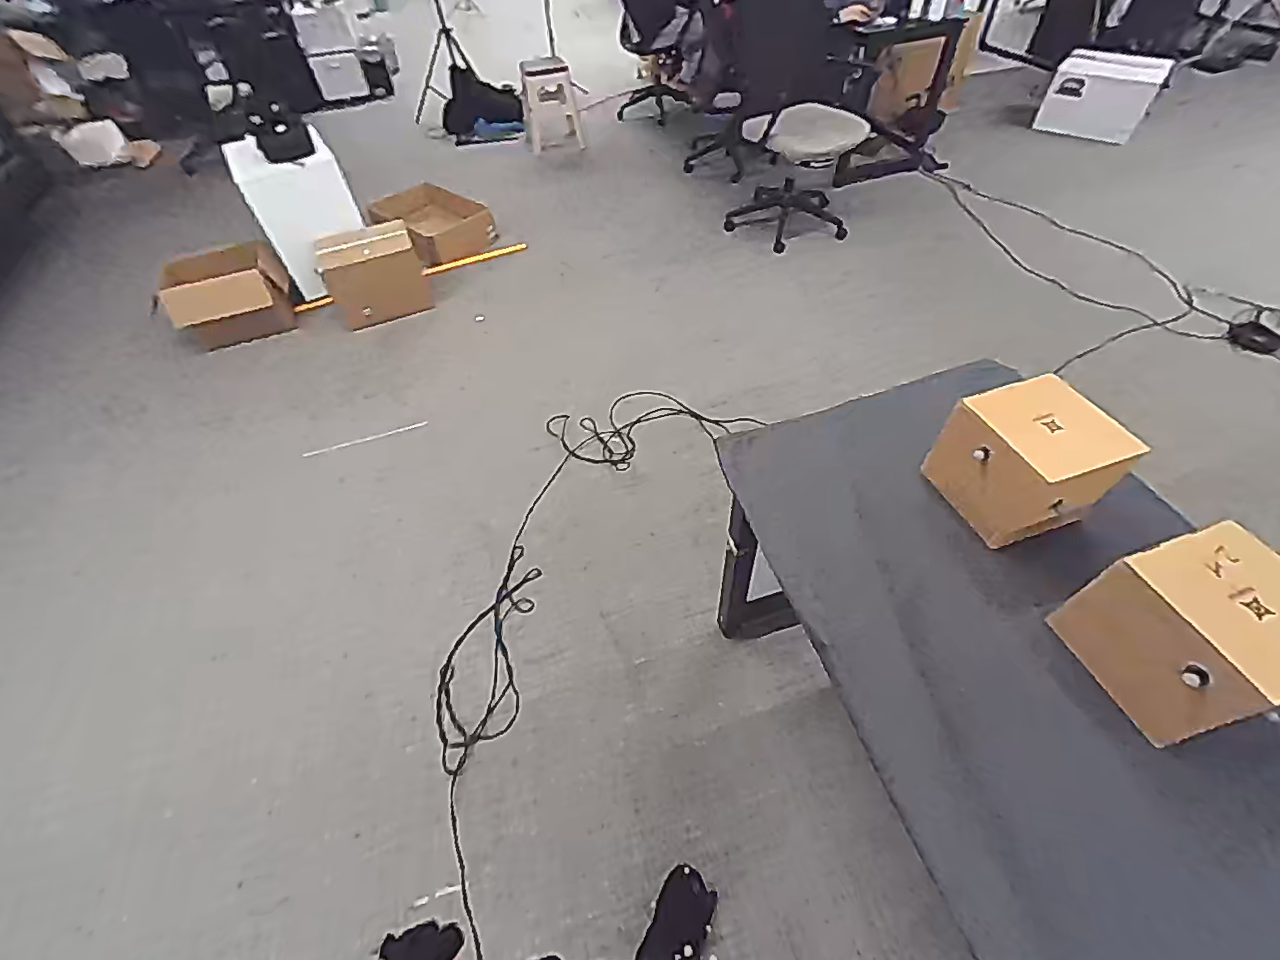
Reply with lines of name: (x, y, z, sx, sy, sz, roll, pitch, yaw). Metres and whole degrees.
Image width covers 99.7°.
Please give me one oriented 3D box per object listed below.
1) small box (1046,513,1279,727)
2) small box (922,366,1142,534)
small box: (0.649, 0.173, 0.641, 0.168, 0.176, 0.179, -16, 52, -10)
small box: (0.571, -0.038, 0.819, 0.168, 0.176, 0.179, -17, 52, -9)
